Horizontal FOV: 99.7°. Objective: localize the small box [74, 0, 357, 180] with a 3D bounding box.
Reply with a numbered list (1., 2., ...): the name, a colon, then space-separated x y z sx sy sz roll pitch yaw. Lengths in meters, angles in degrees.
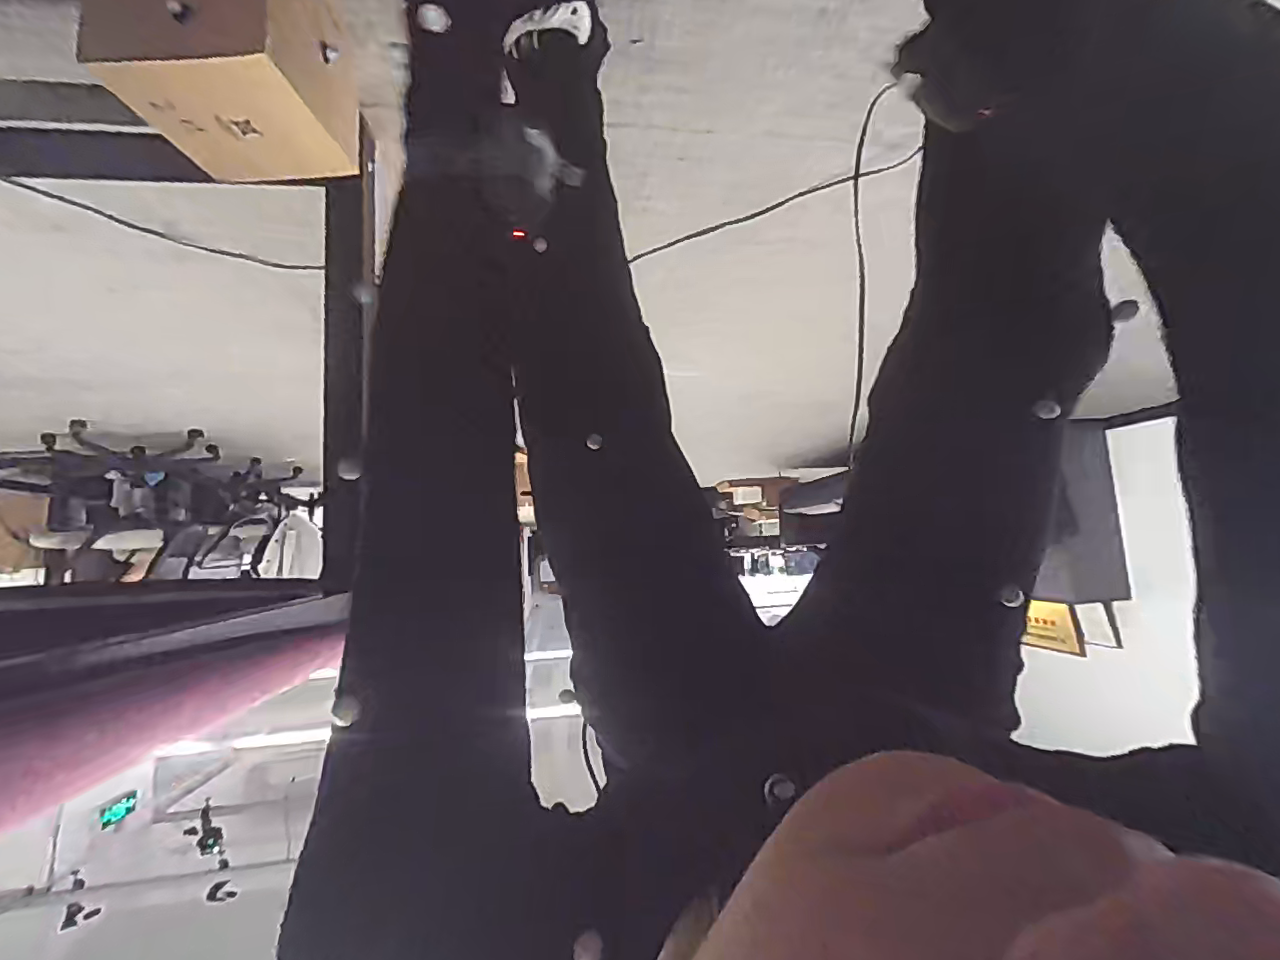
1. small box: -0.424 -0.448 0.565 0.179 0.176 0.168 -3 173 -1
